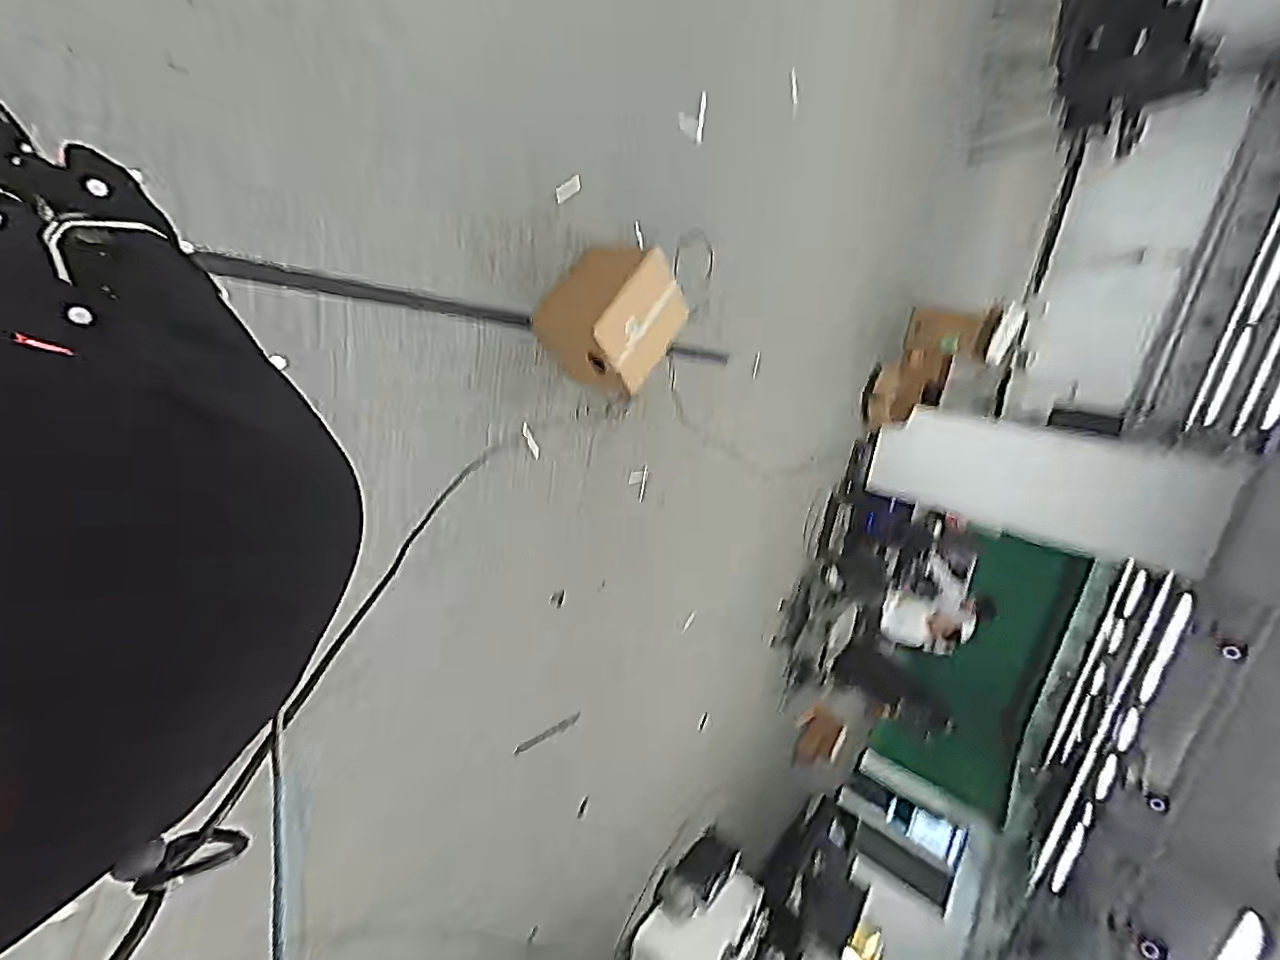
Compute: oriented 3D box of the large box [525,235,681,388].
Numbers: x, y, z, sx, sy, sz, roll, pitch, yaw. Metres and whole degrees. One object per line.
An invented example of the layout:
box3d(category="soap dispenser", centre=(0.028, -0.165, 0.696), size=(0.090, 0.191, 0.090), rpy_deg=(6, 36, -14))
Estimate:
box3d(category="large box", centre=(-0.121, -0.600, 1.904), size=(0.408, 0.320, 0.320), rpy_deg=(-57, 142, -17))
